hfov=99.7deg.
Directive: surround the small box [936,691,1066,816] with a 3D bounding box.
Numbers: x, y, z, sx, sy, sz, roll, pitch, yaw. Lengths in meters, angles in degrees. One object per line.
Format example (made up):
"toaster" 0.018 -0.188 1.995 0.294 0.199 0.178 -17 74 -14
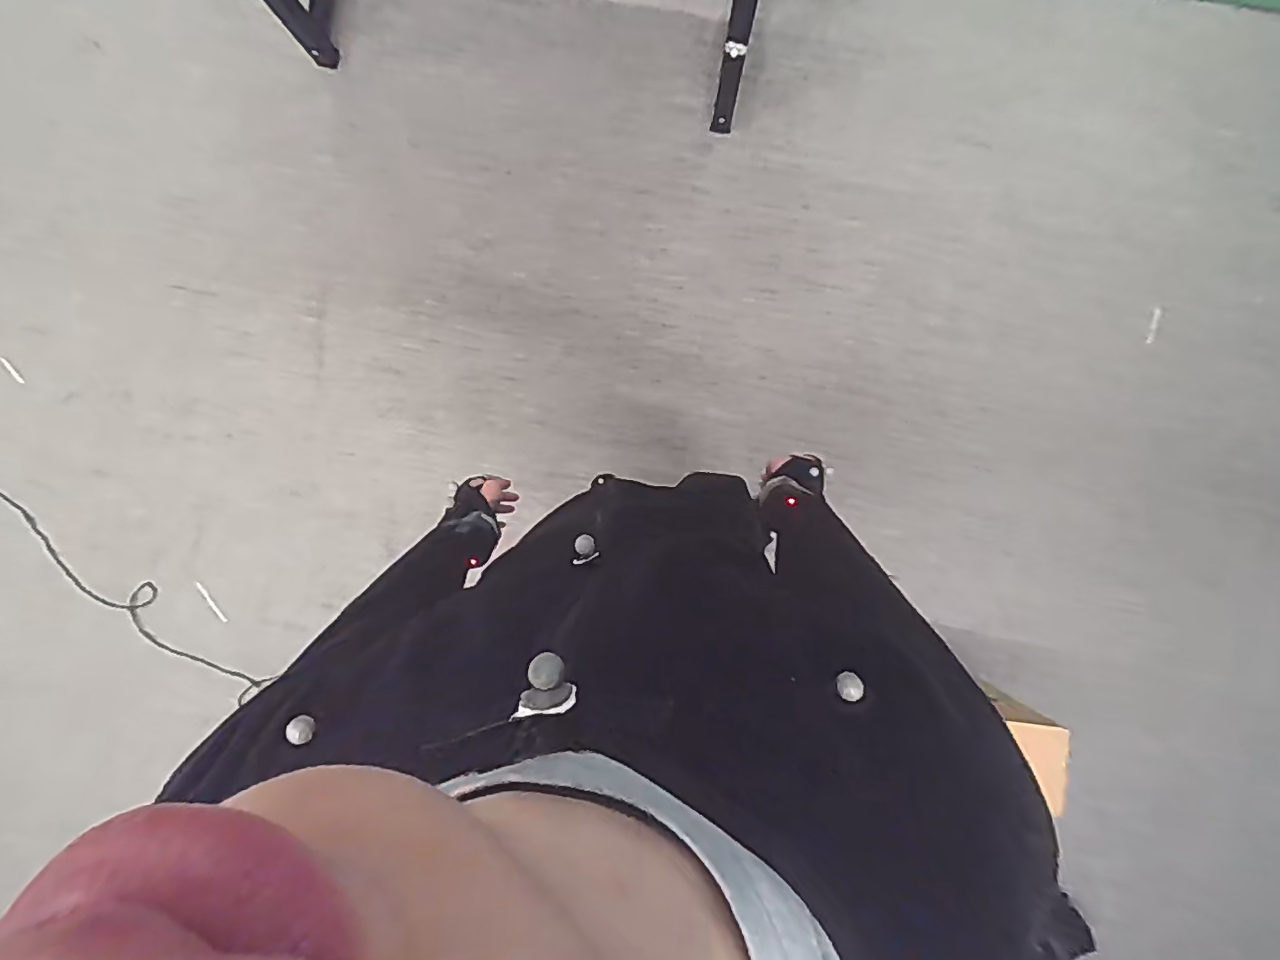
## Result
"small box" 0.762 0.578 1.159 0.168 0.176 0.179 7 87 0
